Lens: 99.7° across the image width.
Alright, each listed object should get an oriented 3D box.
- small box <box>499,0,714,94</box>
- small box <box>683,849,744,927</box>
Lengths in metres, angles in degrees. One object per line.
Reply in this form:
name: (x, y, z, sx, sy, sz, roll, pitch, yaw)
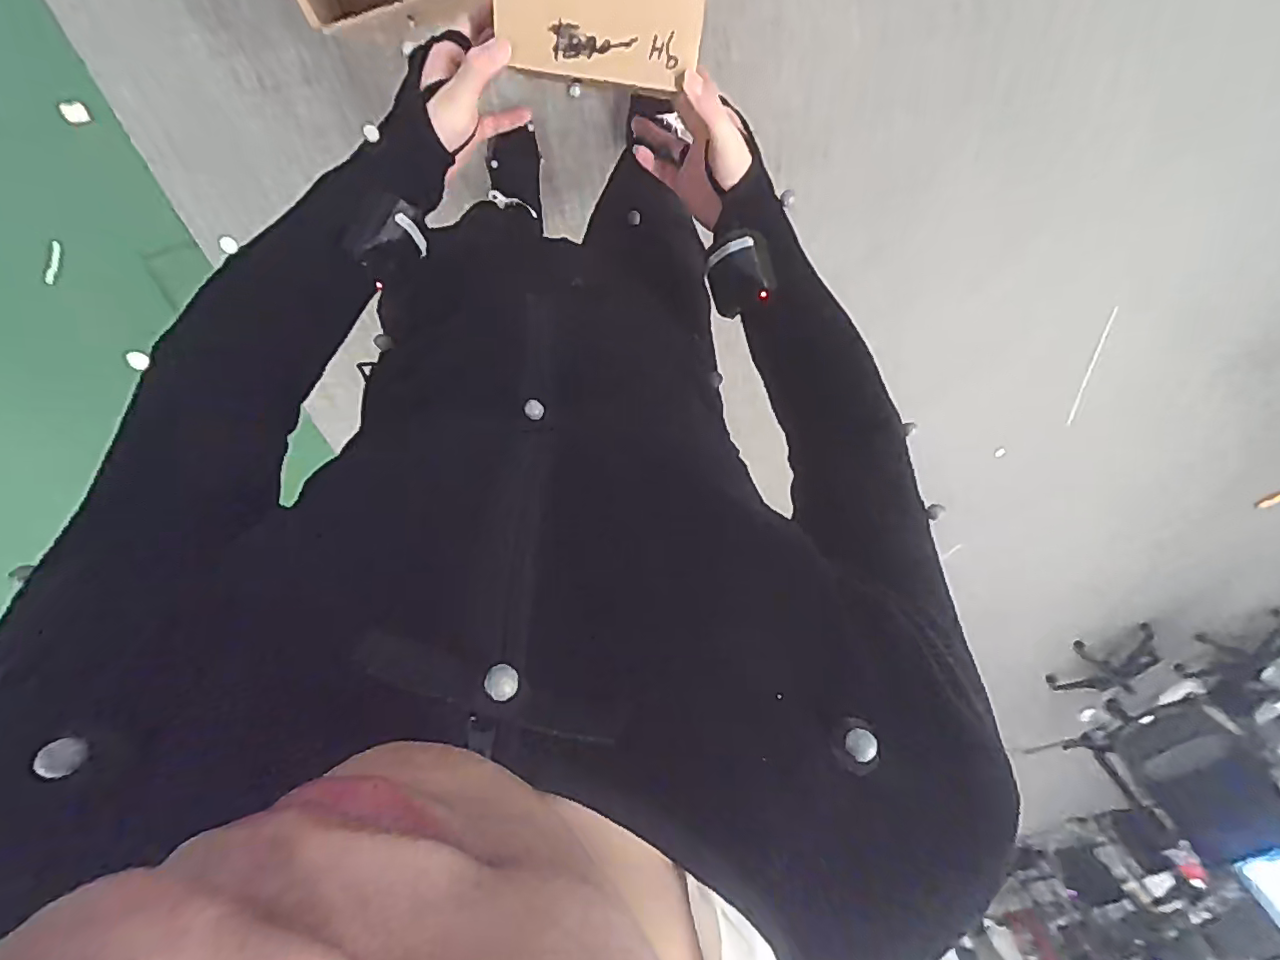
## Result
small box: (-0.025, -0.445, 0.456, 0.168, 0.176, 0.179, 4, 124, -6)
small box: (0.245, 1.359, 1.810, 0.168, 0.176, 0.179, -12, 131, 0)
